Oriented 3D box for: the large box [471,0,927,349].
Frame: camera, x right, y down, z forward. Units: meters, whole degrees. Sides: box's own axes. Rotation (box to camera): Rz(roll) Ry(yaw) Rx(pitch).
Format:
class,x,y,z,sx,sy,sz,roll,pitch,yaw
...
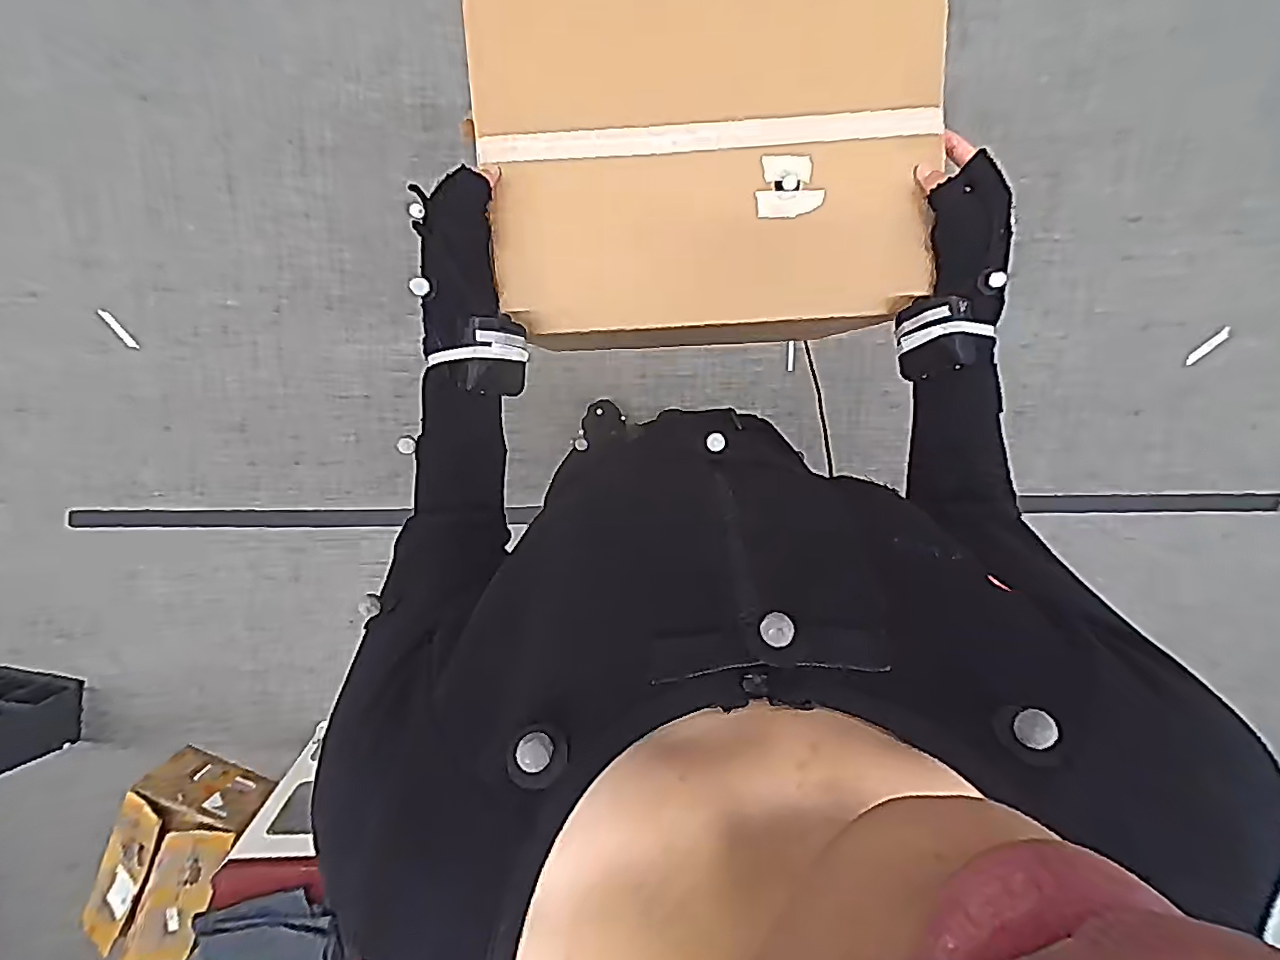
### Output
class,x,y,z,sx,sy,sz,roll,pitch,yaw
large box,0.056,-0.334,0.637,0.408,0.320,0.320,-4,101,0
